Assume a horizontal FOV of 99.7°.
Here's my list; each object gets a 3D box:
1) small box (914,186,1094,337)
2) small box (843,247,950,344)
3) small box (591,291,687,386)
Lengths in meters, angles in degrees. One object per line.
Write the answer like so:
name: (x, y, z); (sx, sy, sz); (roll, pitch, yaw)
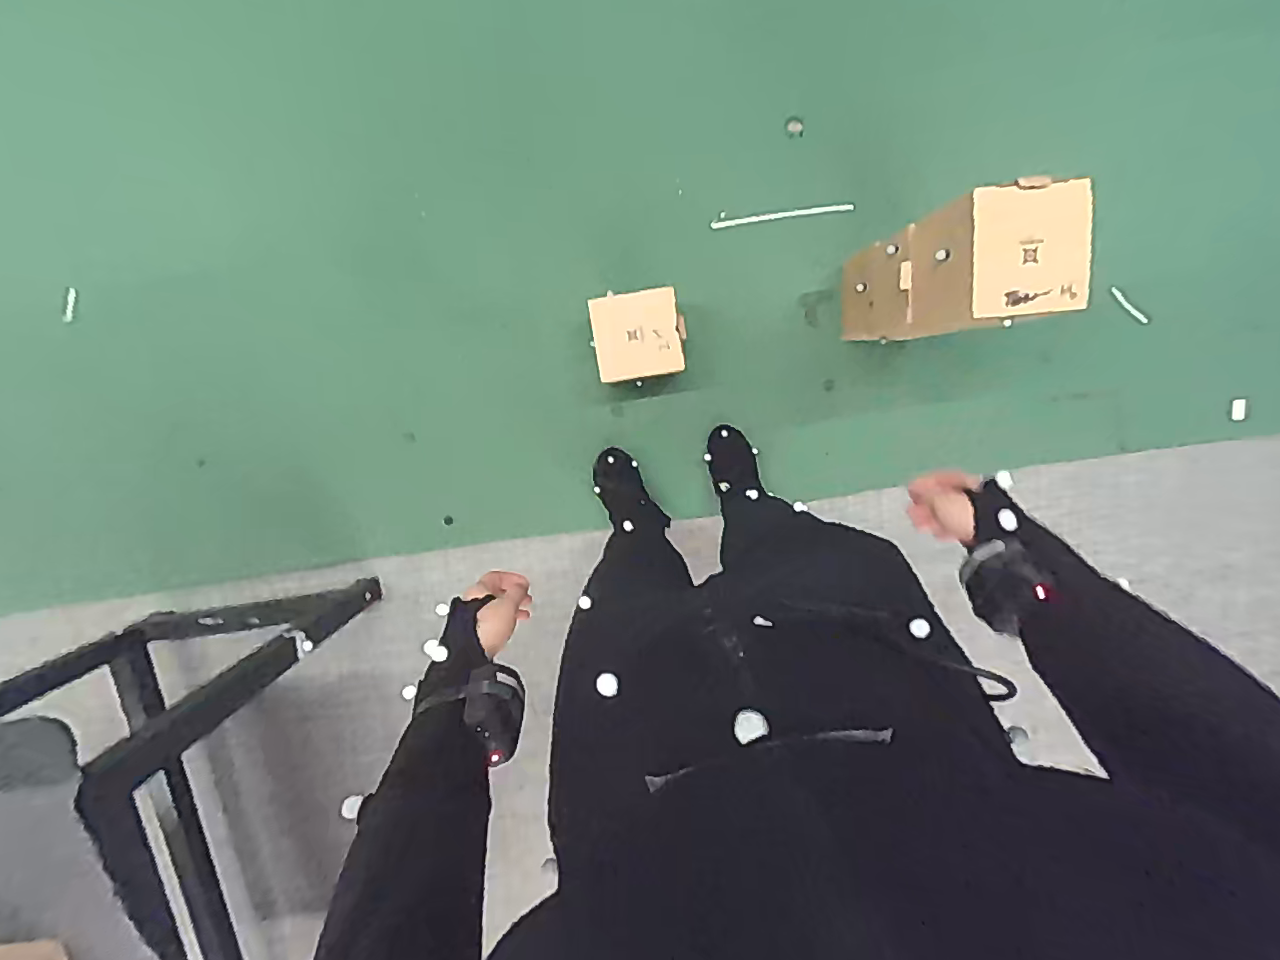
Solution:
small box: (0.544, -0.324, 0.830); (0.168, 0.176, 0.179); (-4, 98, -1)
small box: (0.546, -0.385, 1.154); (0.168, 0.176, 0.179); (0, 99, -1)
small box: (0.000, -0.295, 1.159); (0.179, 0.176, 0.168); (-9, 99, 1)
